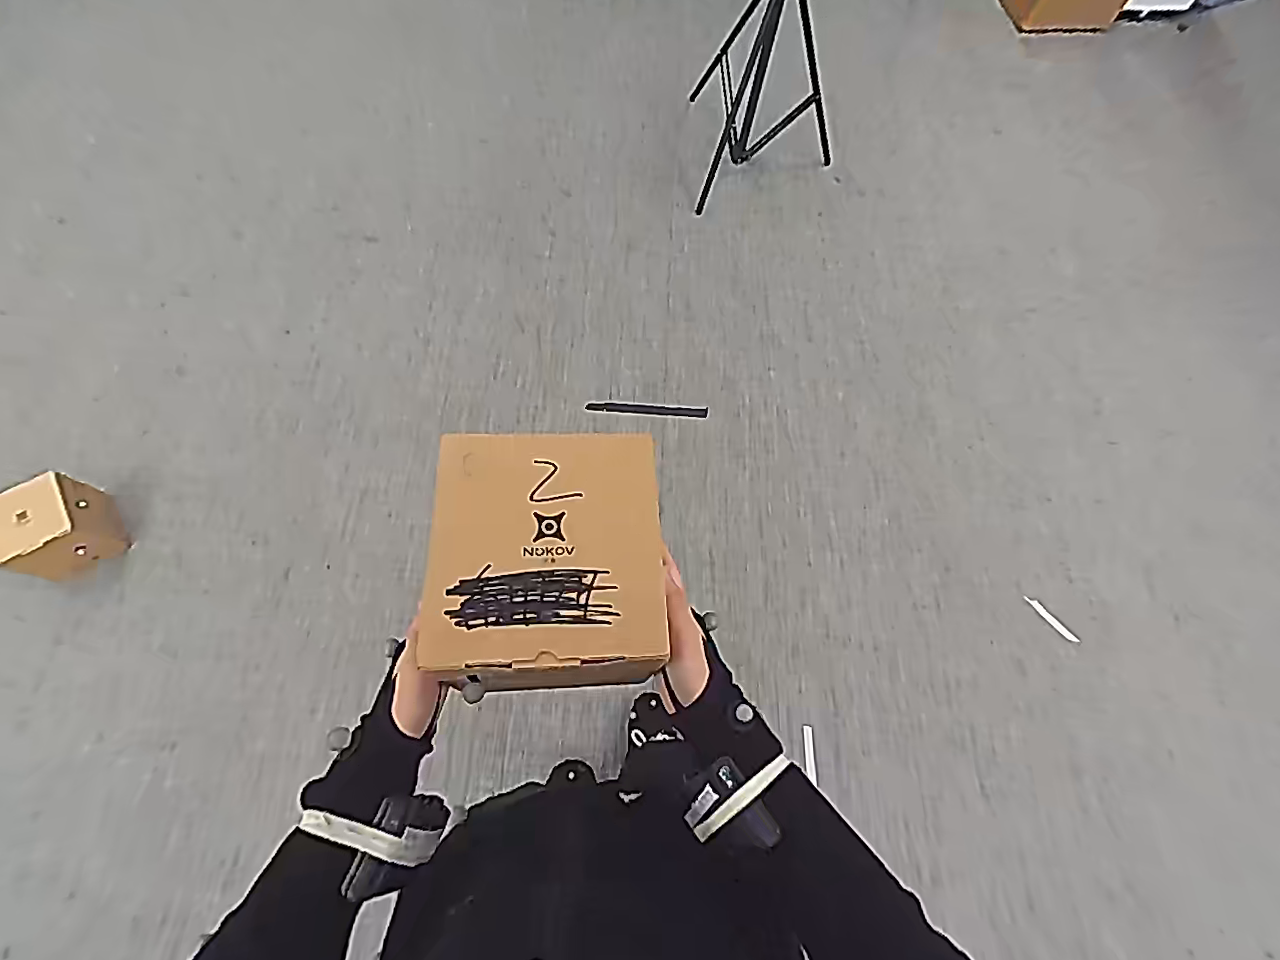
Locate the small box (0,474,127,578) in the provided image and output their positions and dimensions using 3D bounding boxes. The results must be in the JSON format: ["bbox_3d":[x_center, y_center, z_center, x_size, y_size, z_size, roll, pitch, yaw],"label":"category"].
[{"bbox_3d":[-1.405,0.120,1.304,0.168,0.176,0.179,-31,73,-16],"label":"small box"}]
